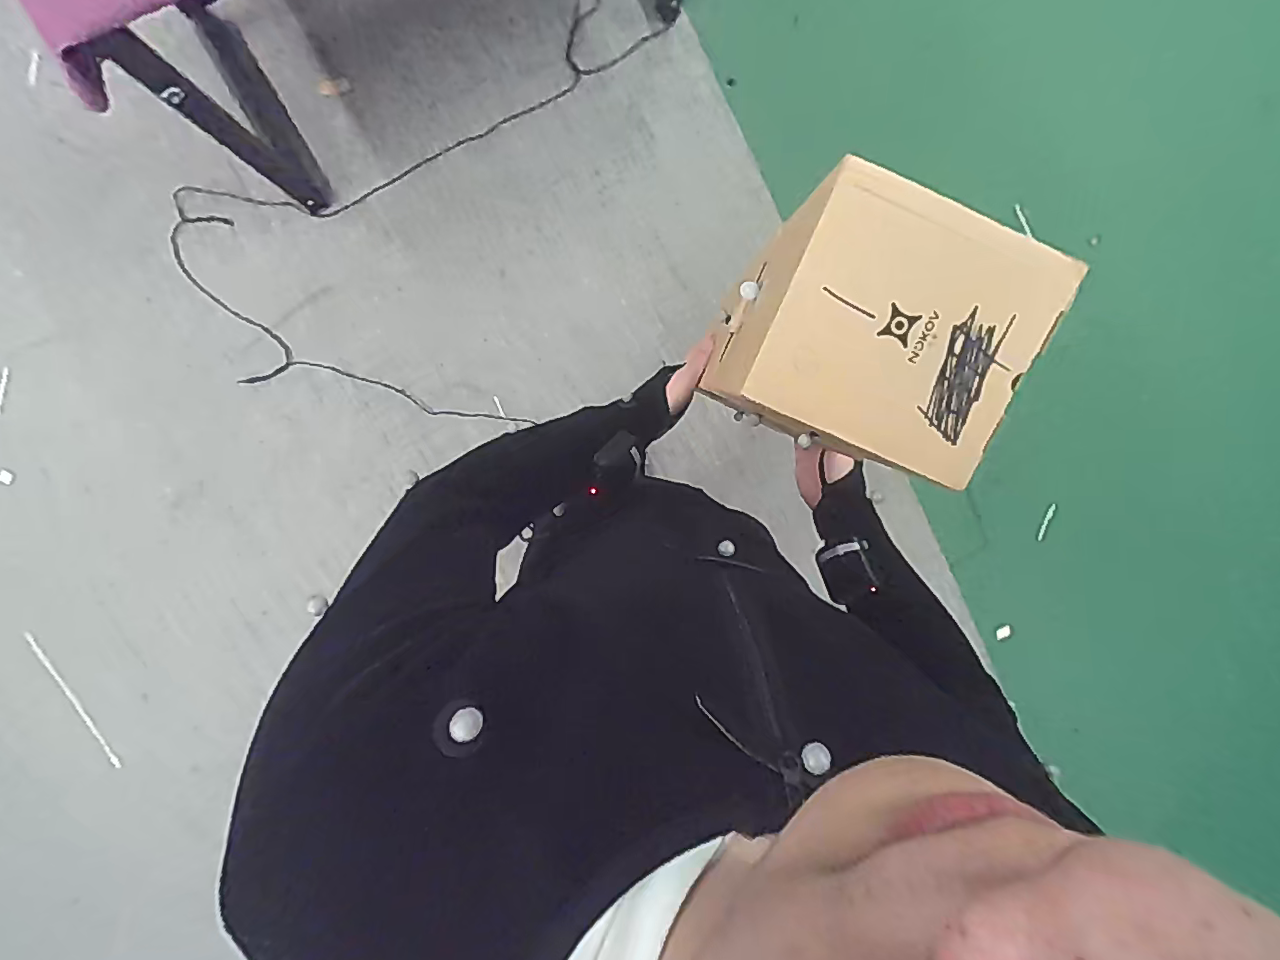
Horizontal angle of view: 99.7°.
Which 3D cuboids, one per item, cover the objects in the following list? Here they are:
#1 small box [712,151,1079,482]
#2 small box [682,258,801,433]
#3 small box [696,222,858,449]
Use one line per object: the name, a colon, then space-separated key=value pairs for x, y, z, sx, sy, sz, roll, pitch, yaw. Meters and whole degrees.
small box: x=0.175 y=-0.119 z=0.436 sx=0.179 sy=0.176 sz=0.168 roll=22 pitch=101 yaw=-4
small box: x=0.172 y=-0.180 z=0.759 sx=0.179 sy=0.176 sz=0.168 roll=25 pitch=100 yaw=-6
small box: x=0.174 y=-0.149 z=0.598 sx=0.179 sy=0.176 sz=0.168 roll=23 pitch=101 yaw=-4
